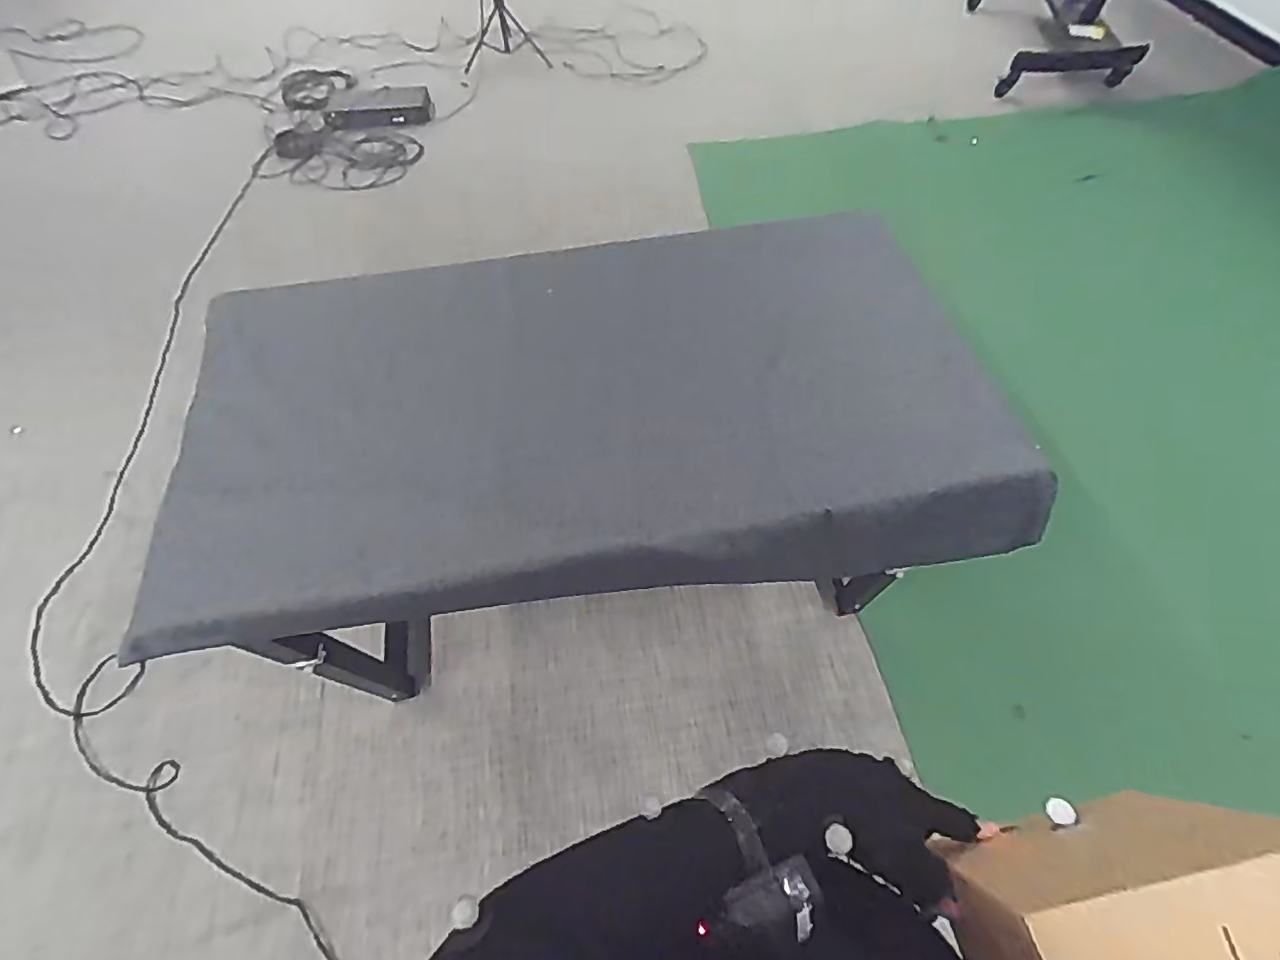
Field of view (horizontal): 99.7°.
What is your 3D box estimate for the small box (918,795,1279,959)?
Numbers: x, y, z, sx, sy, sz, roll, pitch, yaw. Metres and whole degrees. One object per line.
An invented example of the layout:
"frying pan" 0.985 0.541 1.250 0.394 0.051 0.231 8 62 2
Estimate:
"small box" 0.295 0.305 0.312 0.168 0.176 0.179 -16 64 3
